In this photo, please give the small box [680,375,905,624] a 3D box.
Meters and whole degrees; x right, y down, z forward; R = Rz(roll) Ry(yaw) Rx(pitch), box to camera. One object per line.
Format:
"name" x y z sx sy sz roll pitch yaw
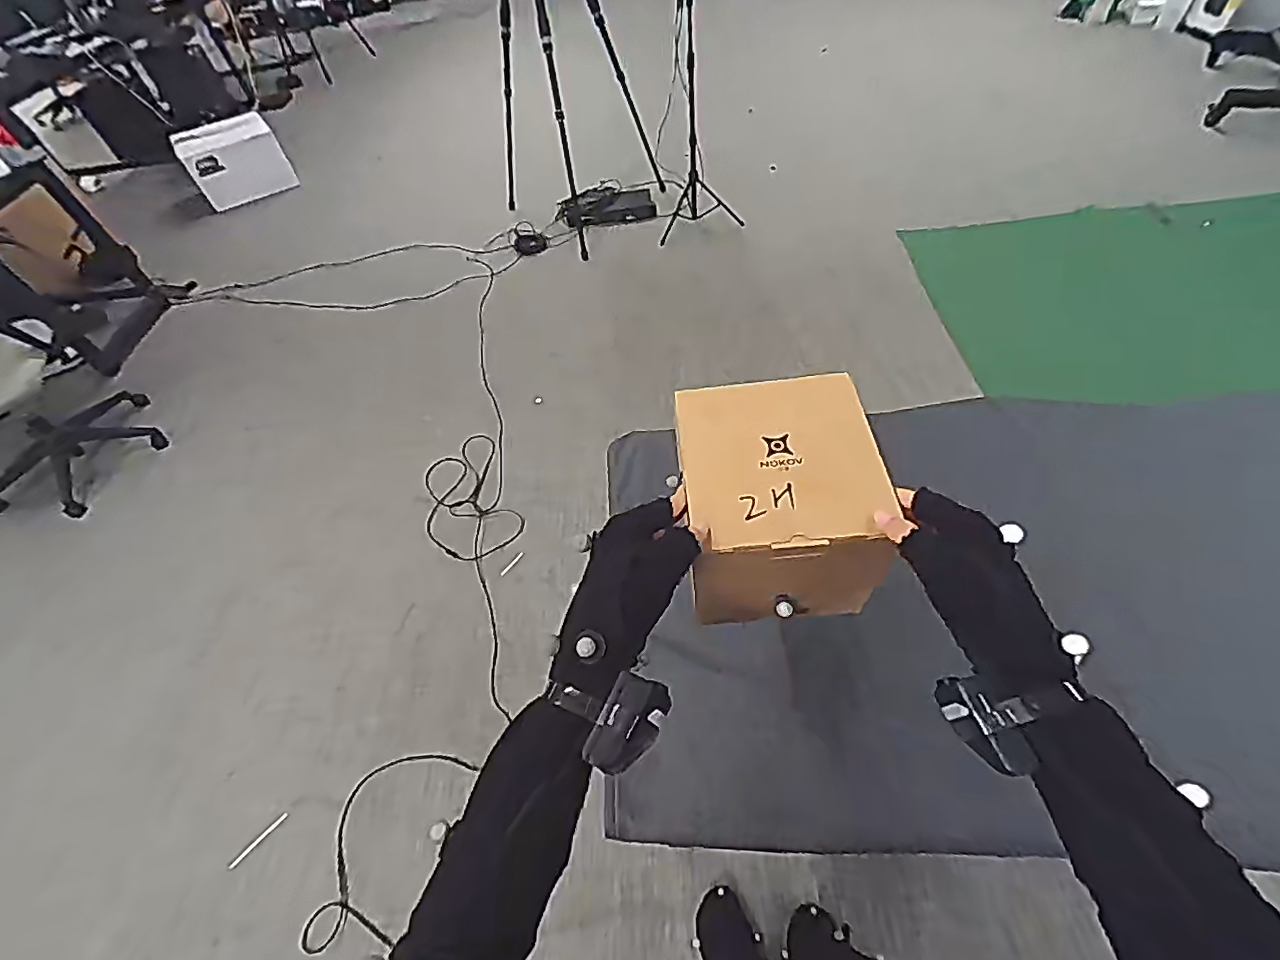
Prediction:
"small box" 0.129 0.024 0.533 0.168 0.176 0.179 -6 54 4
